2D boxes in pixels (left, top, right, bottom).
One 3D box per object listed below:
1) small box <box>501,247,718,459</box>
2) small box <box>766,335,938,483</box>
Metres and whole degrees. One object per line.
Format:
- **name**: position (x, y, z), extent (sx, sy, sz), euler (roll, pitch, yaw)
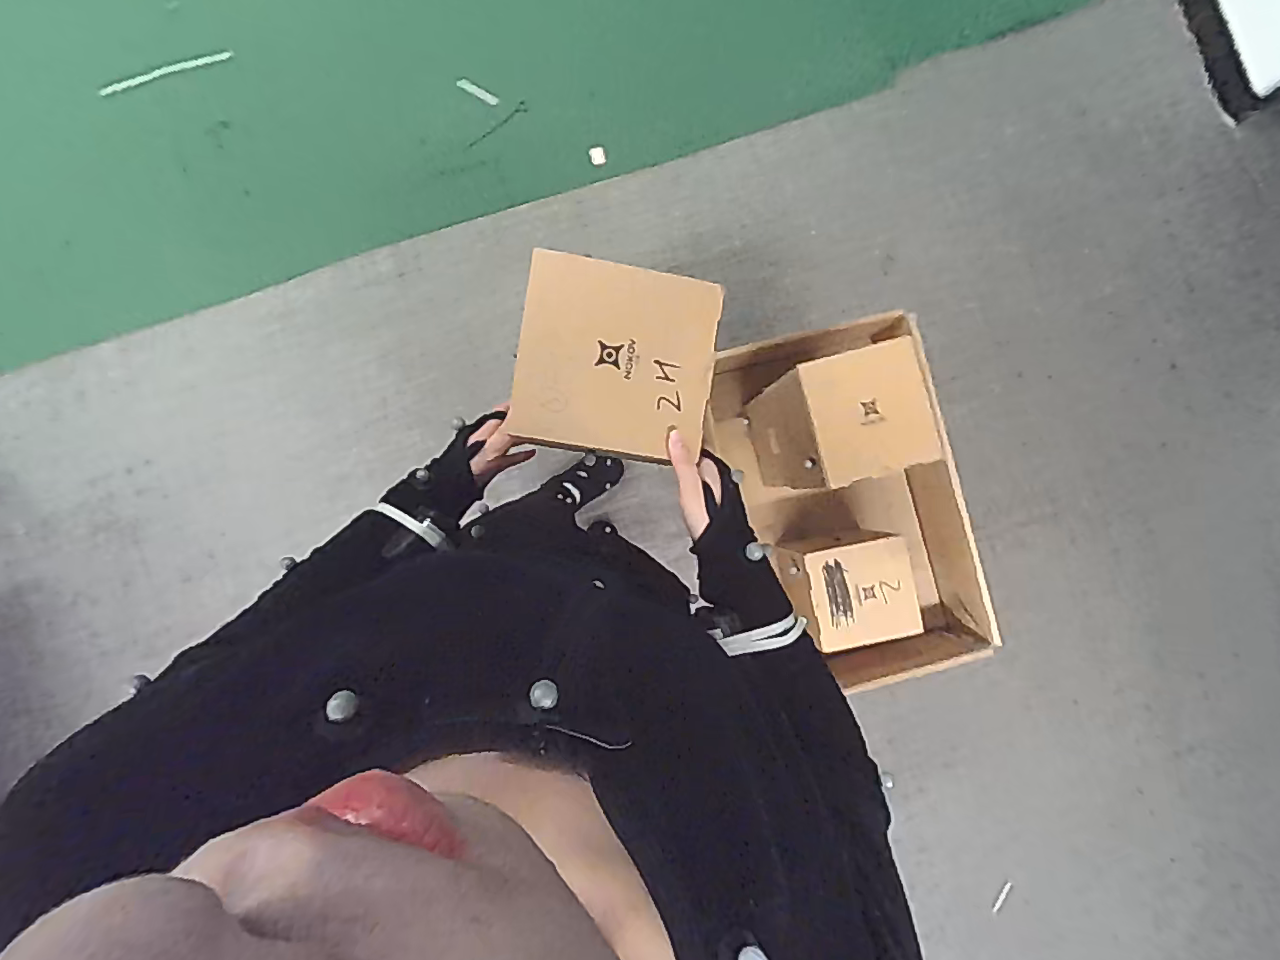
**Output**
- **small box**: position (-0.036, -0.113, 0.560), extent (0.179, 0.176, 0.168), euler (8, 91, -9)
- **small box**: position (0.305, -0.096, 0.814), extent (0.168, 0.176, 0.179), euler (-15, 91, -3)
